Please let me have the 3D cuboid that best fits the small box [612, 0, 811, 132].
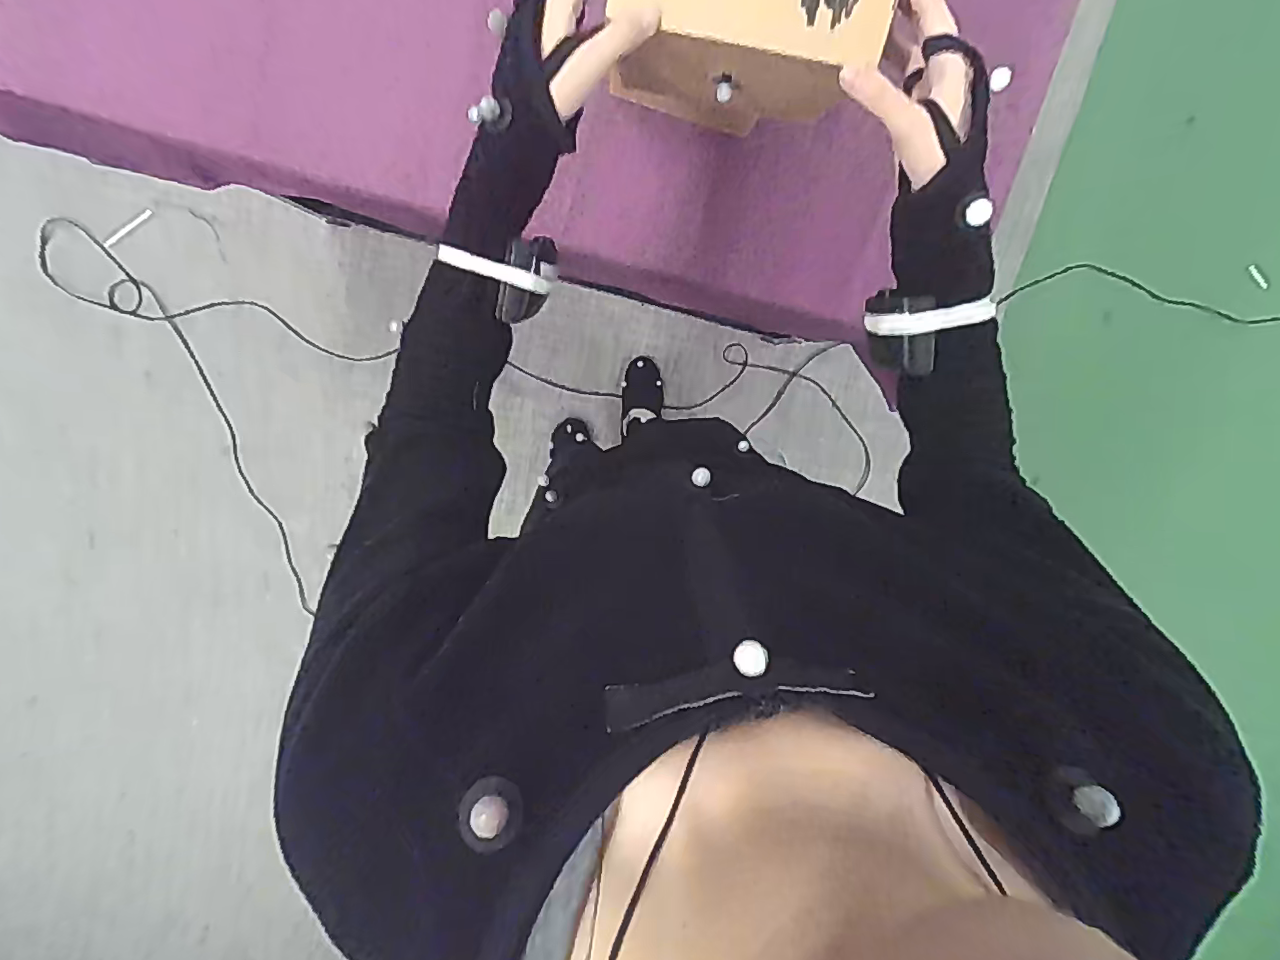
[{"bbox_3d":[0.075,-0.501,0.569,0.179,0.176,0.168,14,101,-7],"label":"small box"}]
